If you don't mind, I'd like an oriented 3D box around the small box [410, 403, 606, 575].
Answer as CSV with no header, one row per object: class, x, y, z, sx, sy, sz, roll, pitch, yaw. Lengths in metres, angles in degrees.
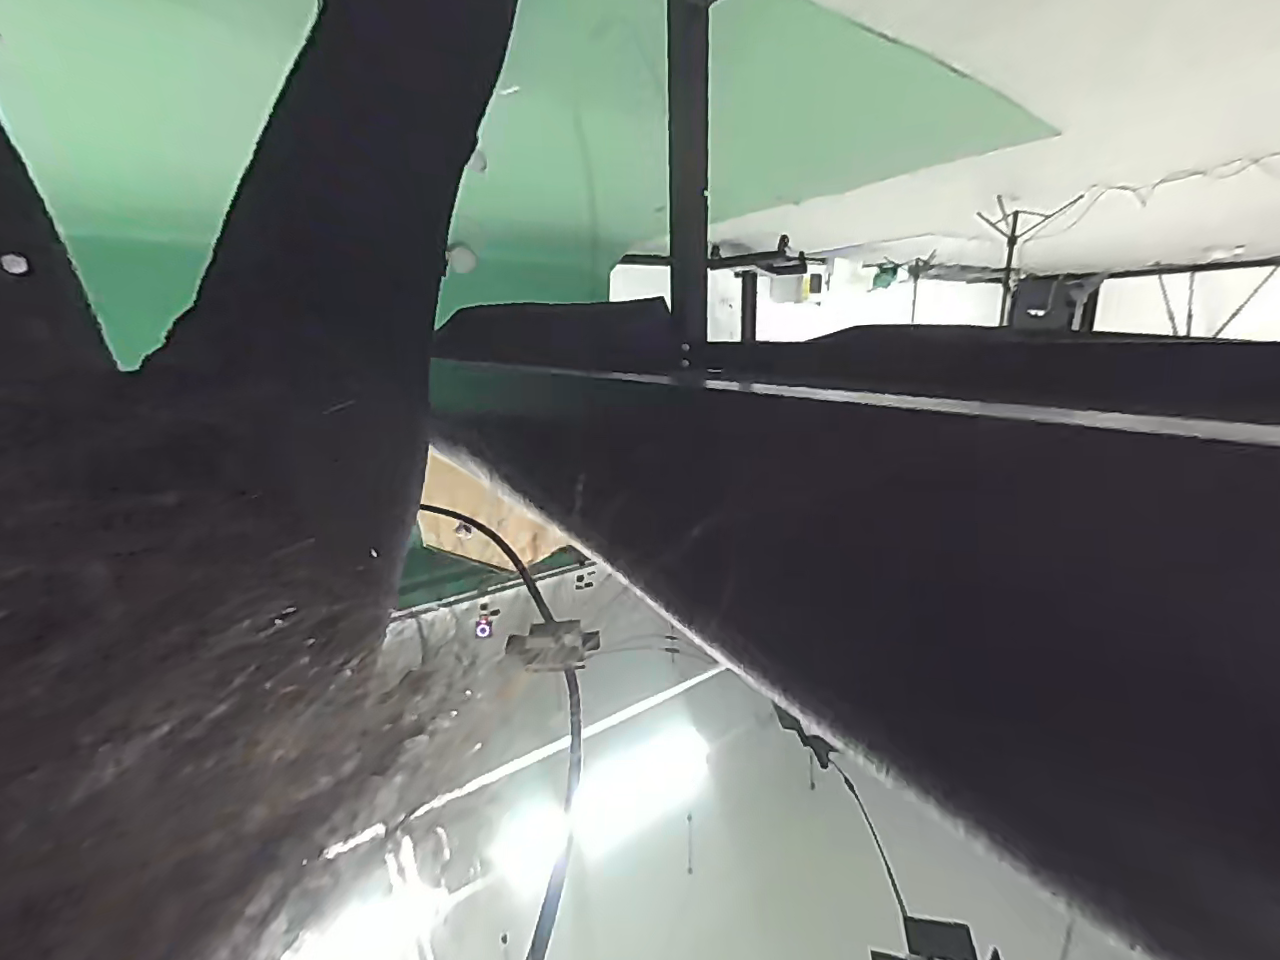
small box,-0.168,-0.002,0.693,0.179,0.176,0.168,7,-160,35
